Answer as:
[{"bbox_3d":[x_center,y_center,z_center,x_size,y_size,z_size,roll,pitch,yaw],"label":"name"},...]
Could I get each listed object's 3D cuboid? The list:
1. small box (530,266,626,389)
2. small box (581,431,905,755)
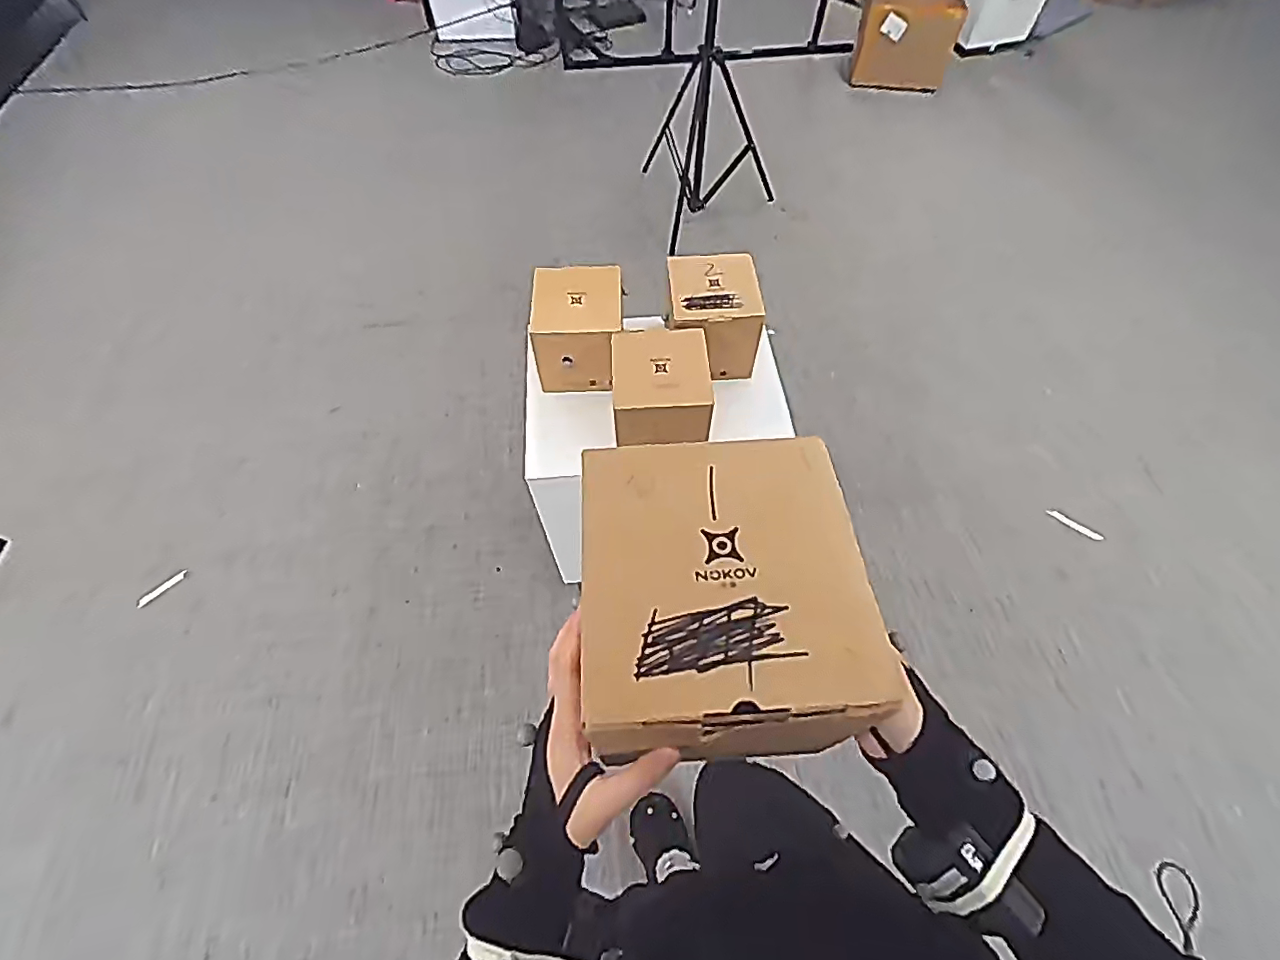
[{"bbox_3d":[-0.114,-0.290,1.057,0.168,0.176,0.179,-2,59,-1],"label":"small box"},{"bbox_3d":[0.050,0.088,0.380,0.168,0.176,0.179,-3,56,-1],"label":"small box"}]
